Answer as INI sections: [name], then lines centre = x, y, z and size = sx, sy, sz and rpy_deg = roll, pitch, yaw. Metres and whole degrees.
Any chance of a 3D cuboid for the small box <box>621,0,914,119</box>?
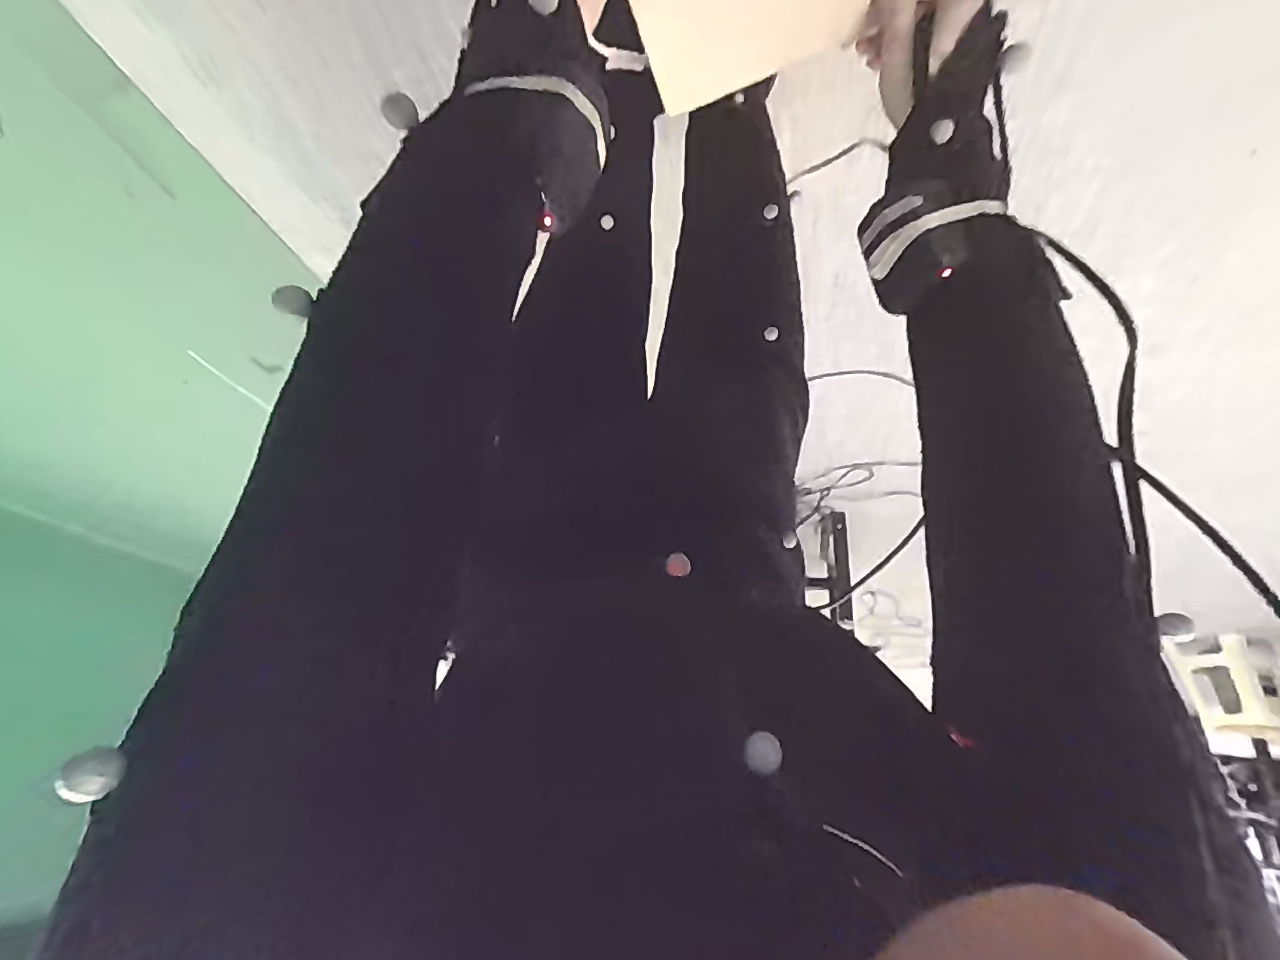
[small box]
centre = 0.070, -0.392, 0.361
size = 0.179, 0.176, 0.168
rpy_deg = -12, 143, 20
